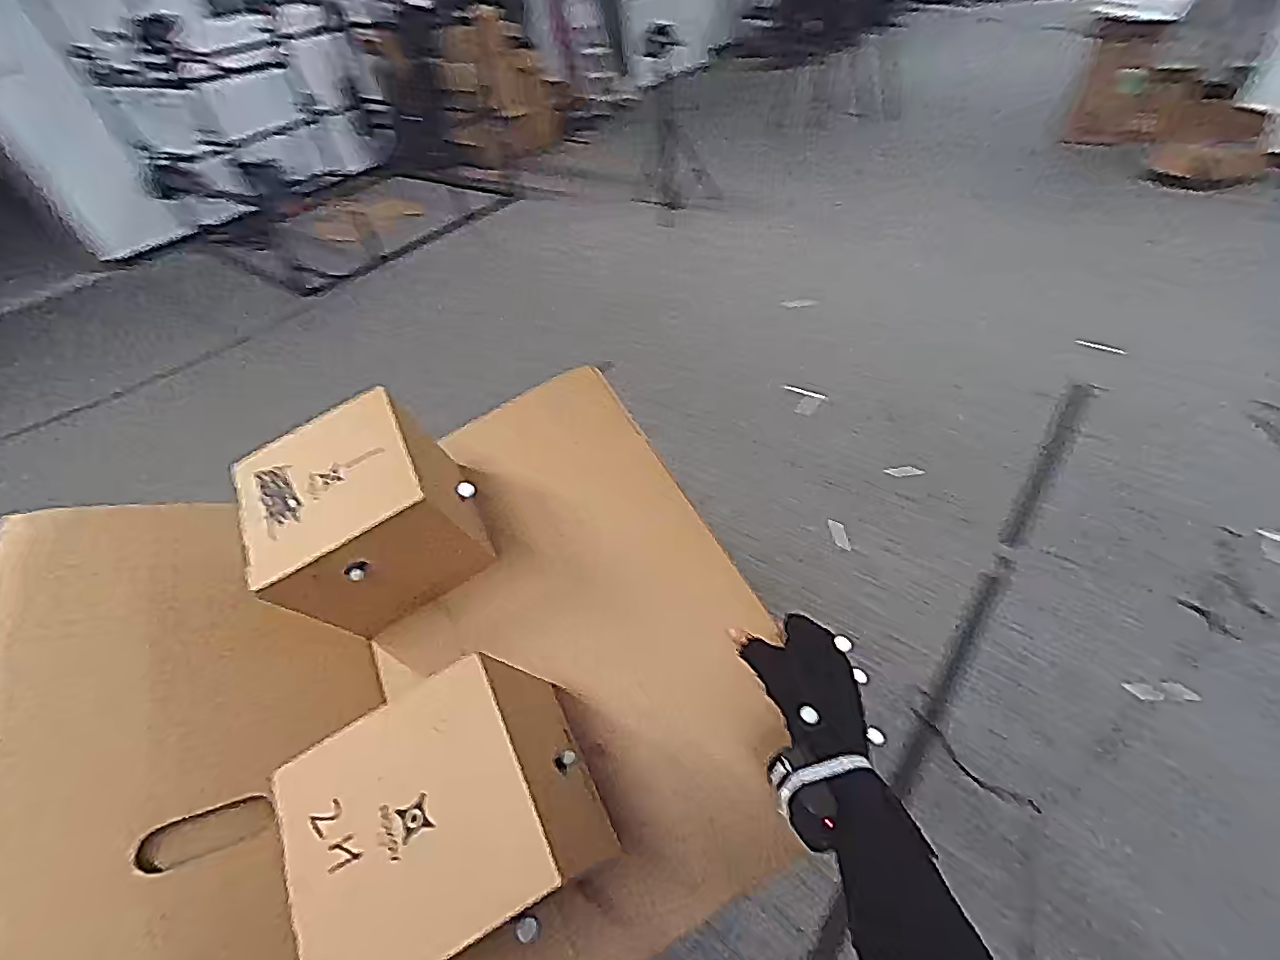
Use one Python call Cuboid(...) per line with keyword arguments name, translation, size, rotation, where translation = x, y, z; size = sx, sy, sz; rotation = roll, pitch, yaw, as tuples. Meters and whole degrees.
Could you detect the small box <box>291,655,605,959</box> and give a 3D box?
Cuboid(name="small box", translation=(-0.142, 0.273, 0.449), size=(0.179, 0.176, 0.168), rotation=(-29, 59, -3))
